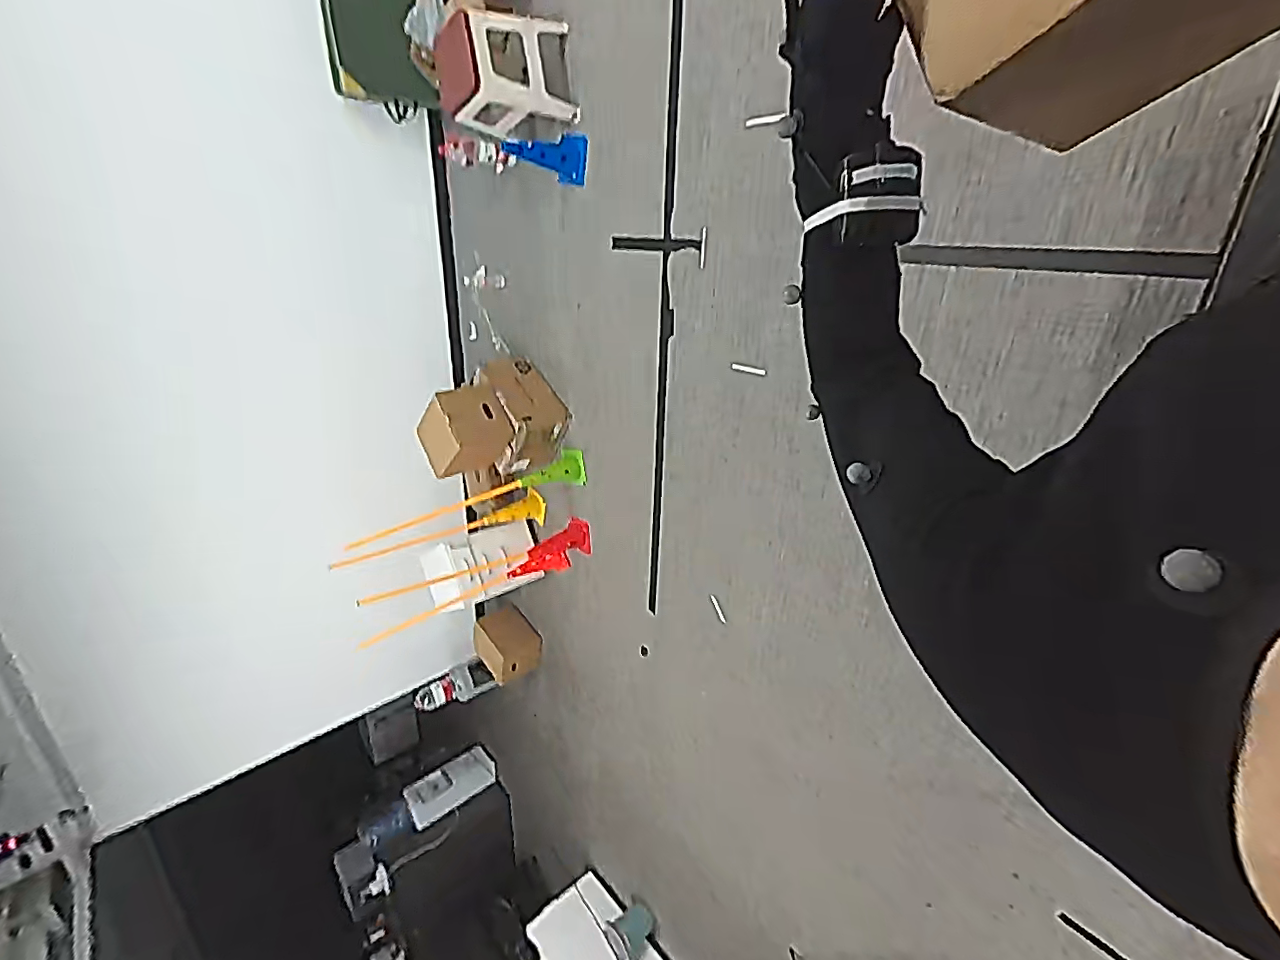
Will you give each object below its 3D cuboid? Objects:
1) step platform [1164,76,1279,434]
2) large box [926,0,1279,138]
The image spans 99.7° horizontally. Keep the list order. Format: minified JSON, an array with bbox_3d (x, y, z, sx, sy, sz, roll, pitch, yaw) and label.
[{"bbox_3d":[1.222,-0.419,0.953,0.286,0.204,0.684,21,118,43],"label":"step platform"},{"bbox_3d":[0.401,-0.504,0.325,0.408,0.320,0.320,-19,90,52],"label":"large box"}]
